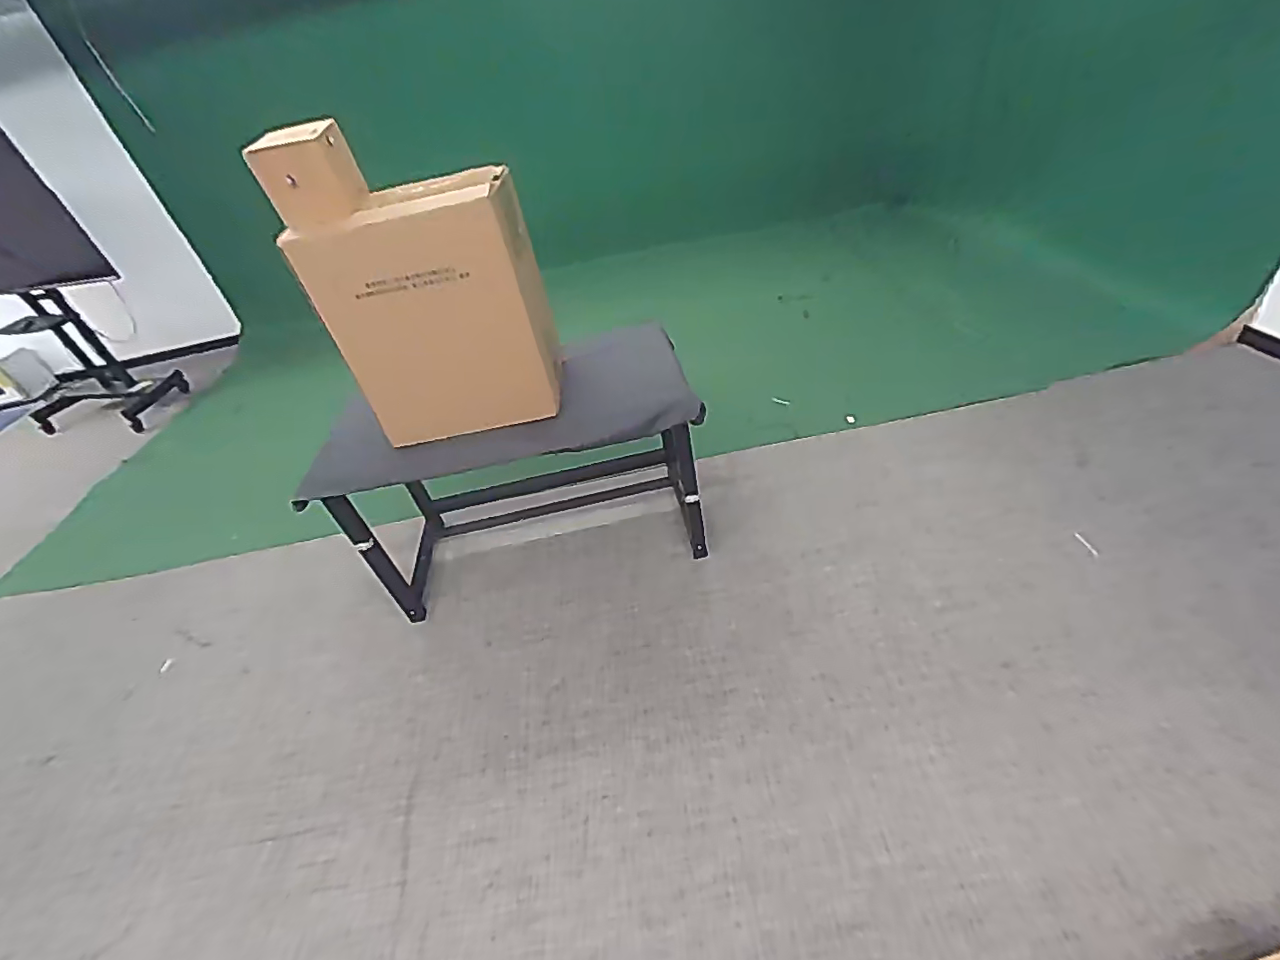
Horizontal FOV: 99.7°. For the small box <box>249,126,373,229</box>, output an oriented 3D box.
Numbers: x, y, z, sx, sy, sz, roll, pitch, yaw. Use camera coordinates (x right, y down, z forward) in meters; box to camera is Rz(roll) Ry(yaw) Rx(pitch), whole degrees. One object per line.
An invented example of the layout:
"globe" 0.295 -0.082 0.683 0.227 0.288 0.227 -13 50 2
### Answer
"small box" -0.803 -0.746 1.340 0.179 0.176 0.168 -11 47 3
